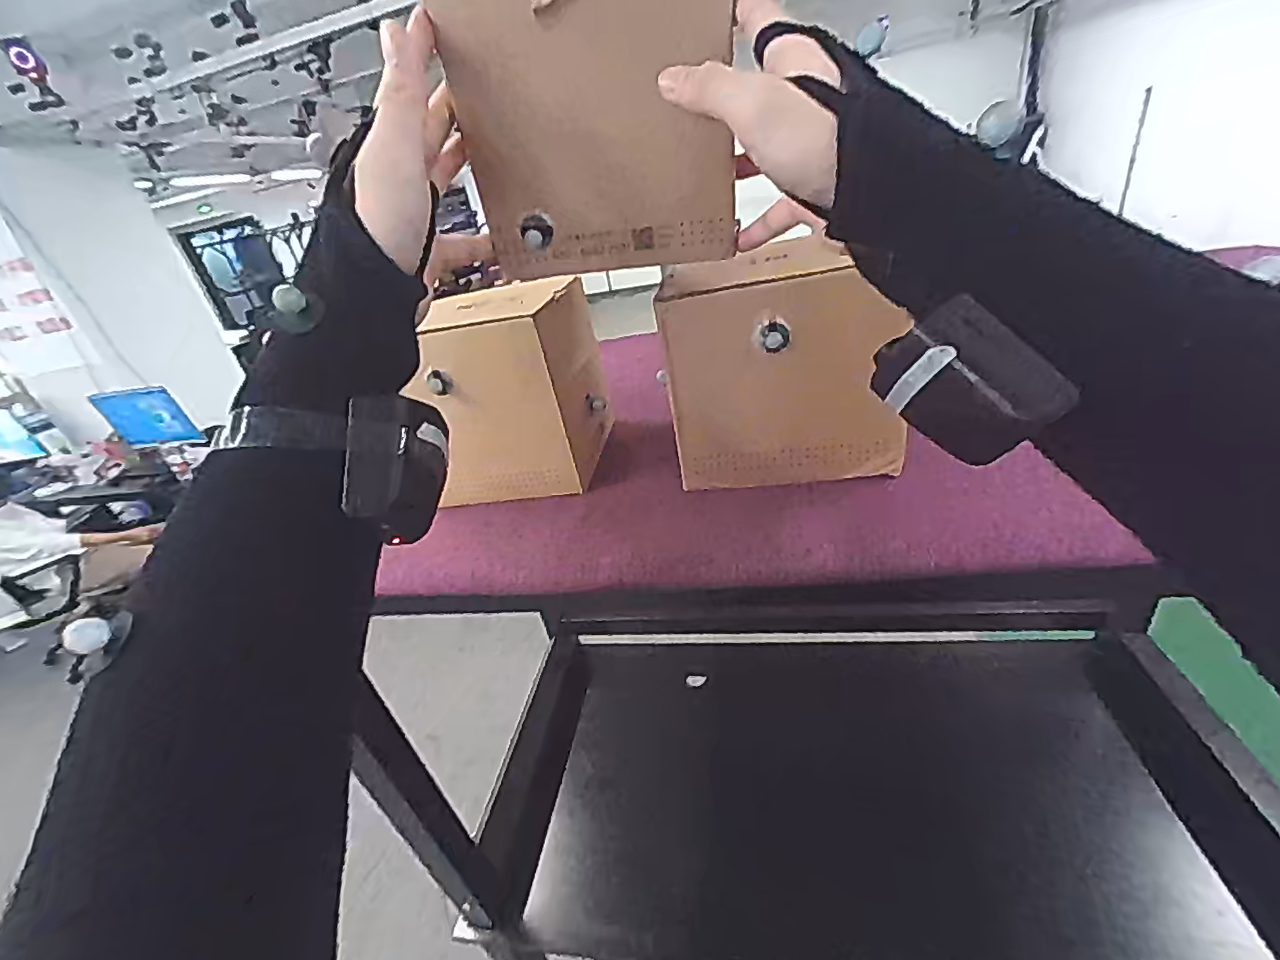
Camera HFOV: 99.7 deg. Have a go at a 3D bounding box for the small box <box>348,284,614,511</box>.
[{"bbox_3d":[-0.139,-0.081,0.544,0.179,0.176,0.168,-6,30,12],"label":"small box"}]

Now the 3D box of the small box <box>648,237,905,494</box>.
[{"bbox_3d":[0.119,-0.098,0.471,0.179,0.176,0.168,-4,30,14],"label":"small box"}]

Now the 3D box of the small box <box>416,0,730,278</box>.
[{"bbox_3d":[-0.023,-0.255,0.390,0.168,0.176,0.179,-3,40,8],"label":"small box"}]
